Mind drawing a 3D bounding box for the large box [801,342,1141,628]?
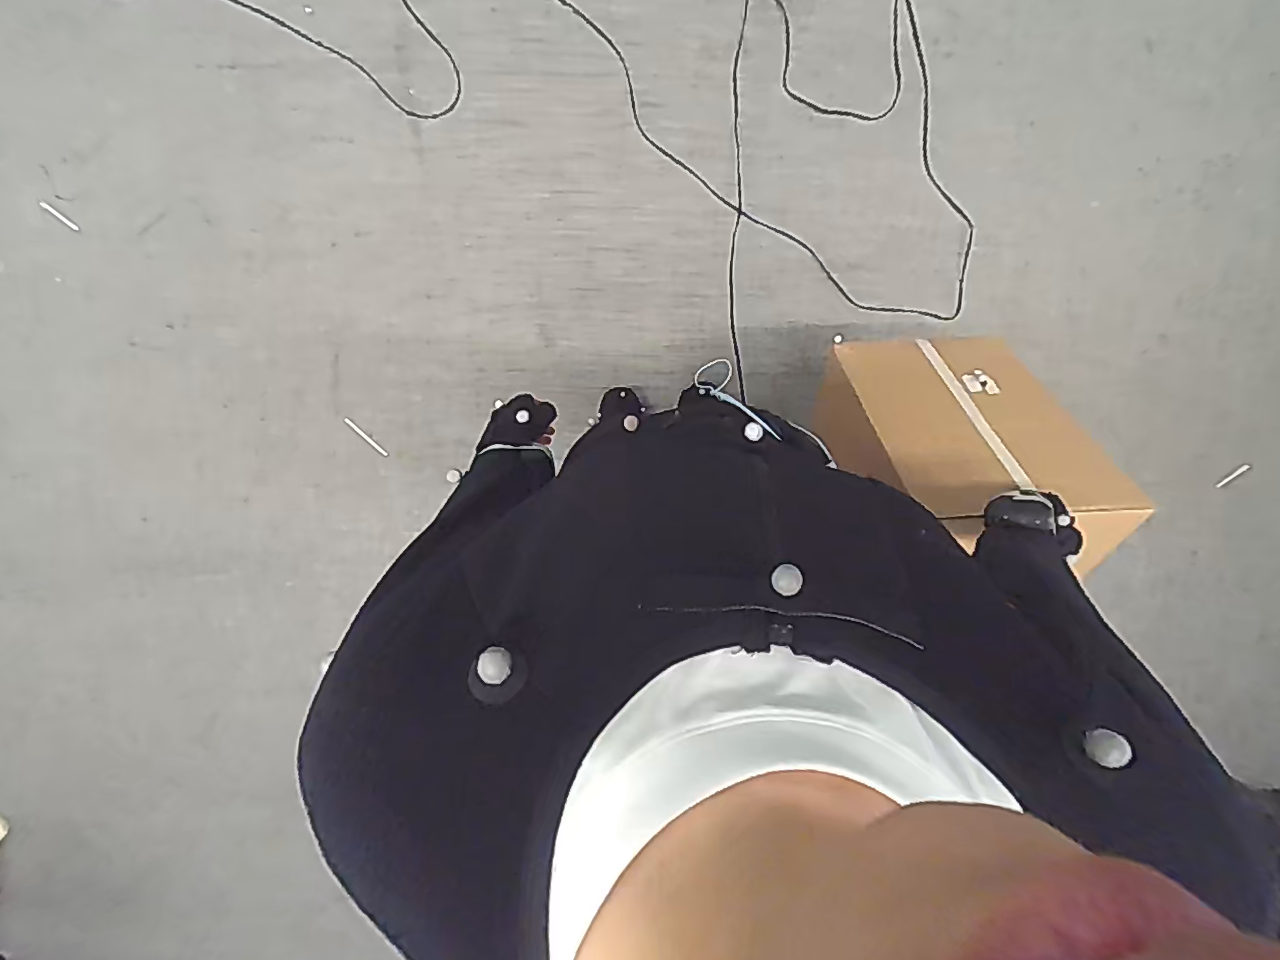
[{"bbox_3d":[0.510,0.003,0.956,0.320,0.408,0.320,-2,137,-2],"label":"large box"}]
